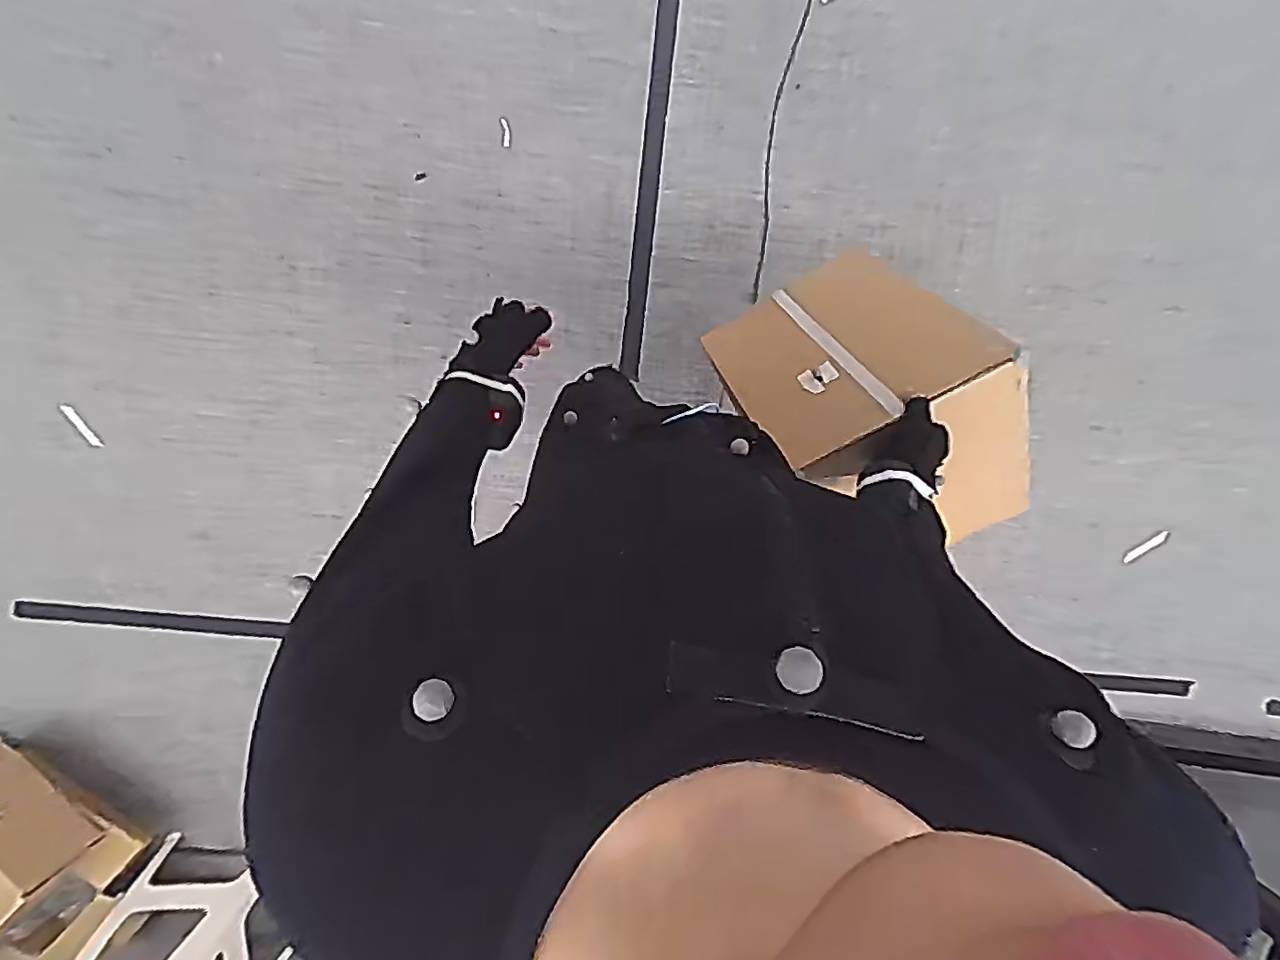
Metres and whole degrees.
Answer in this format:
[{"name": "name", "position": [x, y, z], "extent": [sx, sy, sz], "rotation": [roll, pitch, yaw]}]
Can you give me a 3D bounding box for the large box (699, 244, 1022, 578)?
[{"name": "large box", "position": [0.350, -0.120, 0.909], "extent": [0.320, 0.408, 0.320], "rotation": [-31, 133, 11]}]
